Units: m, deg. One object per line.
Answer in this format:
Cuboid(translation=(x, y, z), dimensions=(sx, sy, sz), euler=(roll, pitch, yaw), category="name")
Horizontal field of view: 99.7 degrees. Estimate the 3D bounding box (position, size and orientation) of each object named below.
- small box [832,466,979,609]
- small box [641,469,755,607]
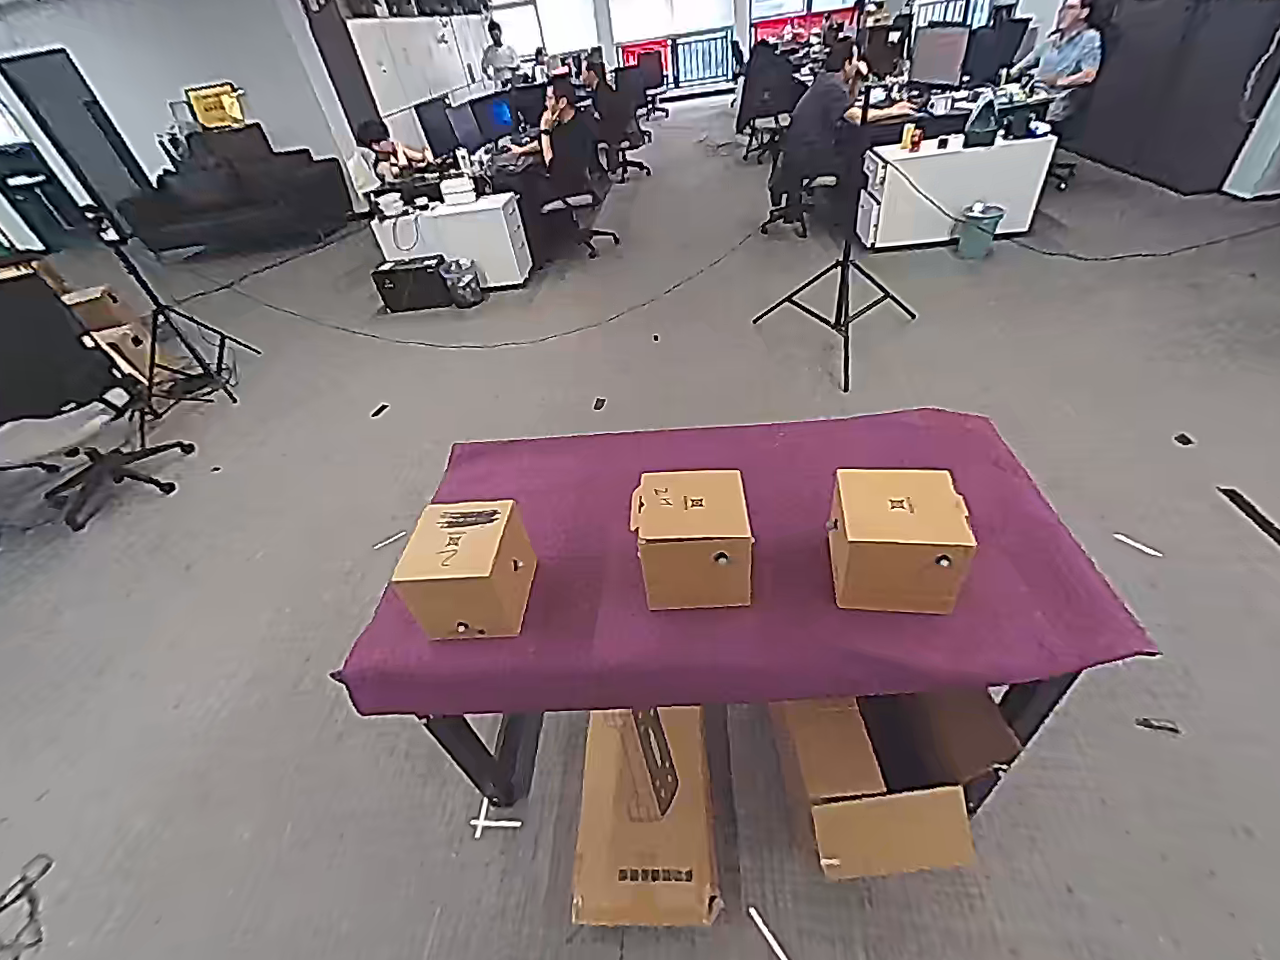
Cuboid(translation=(0.413, 0.094, 0.880), dimensions=(0.179, 0.176, 0.168), euler=(0, 41, 11), category="small box")
Cuboid(translation=(0.099, 0.101, 0.932), dimensions=(0.179, 0.176, 0.168), euler=(-5, 38, 6), category="small box")
